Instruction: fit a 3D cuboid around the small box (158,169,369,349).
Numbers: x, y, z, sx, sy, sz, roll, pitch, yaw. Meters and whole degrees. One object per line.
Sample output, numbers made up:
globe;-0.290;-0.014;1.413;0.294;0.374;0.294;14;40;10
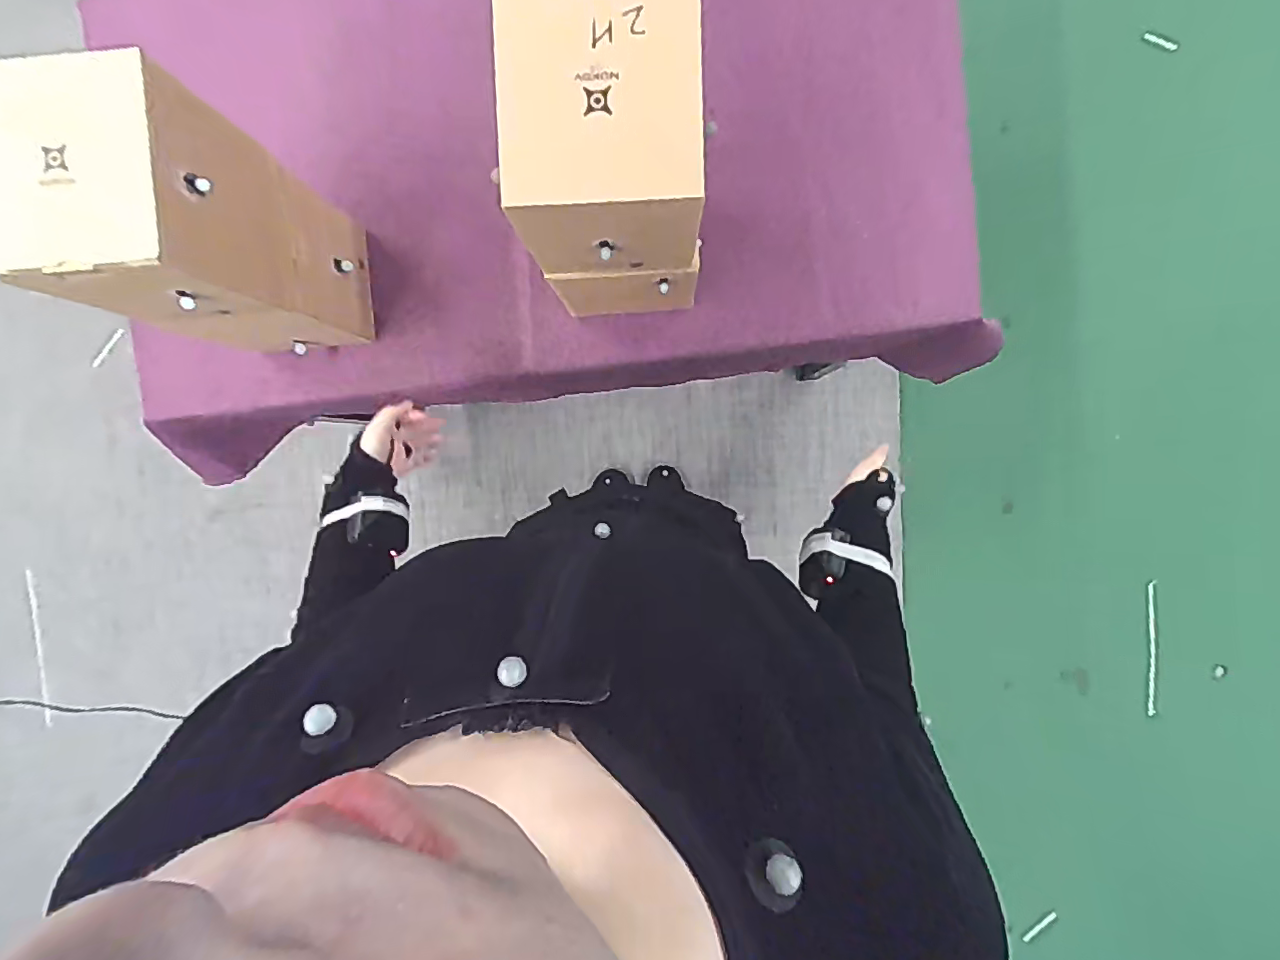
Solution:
small box;-0.473;-0.271;0.698;0.179;0.176;0.168;-4;92;2

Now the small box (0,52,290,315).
small box;-0.479;-0.268;0.534;0.168;0.176;0.179;-2;92;2

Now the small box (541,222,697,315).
small box;-0.022;-0.312;0.676;0.179;0.176;0.168;-3;93;2

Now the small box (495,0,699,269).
small box;-0.030;-0.309;0.511;0.168;0.176;0.179;-1;93;2
